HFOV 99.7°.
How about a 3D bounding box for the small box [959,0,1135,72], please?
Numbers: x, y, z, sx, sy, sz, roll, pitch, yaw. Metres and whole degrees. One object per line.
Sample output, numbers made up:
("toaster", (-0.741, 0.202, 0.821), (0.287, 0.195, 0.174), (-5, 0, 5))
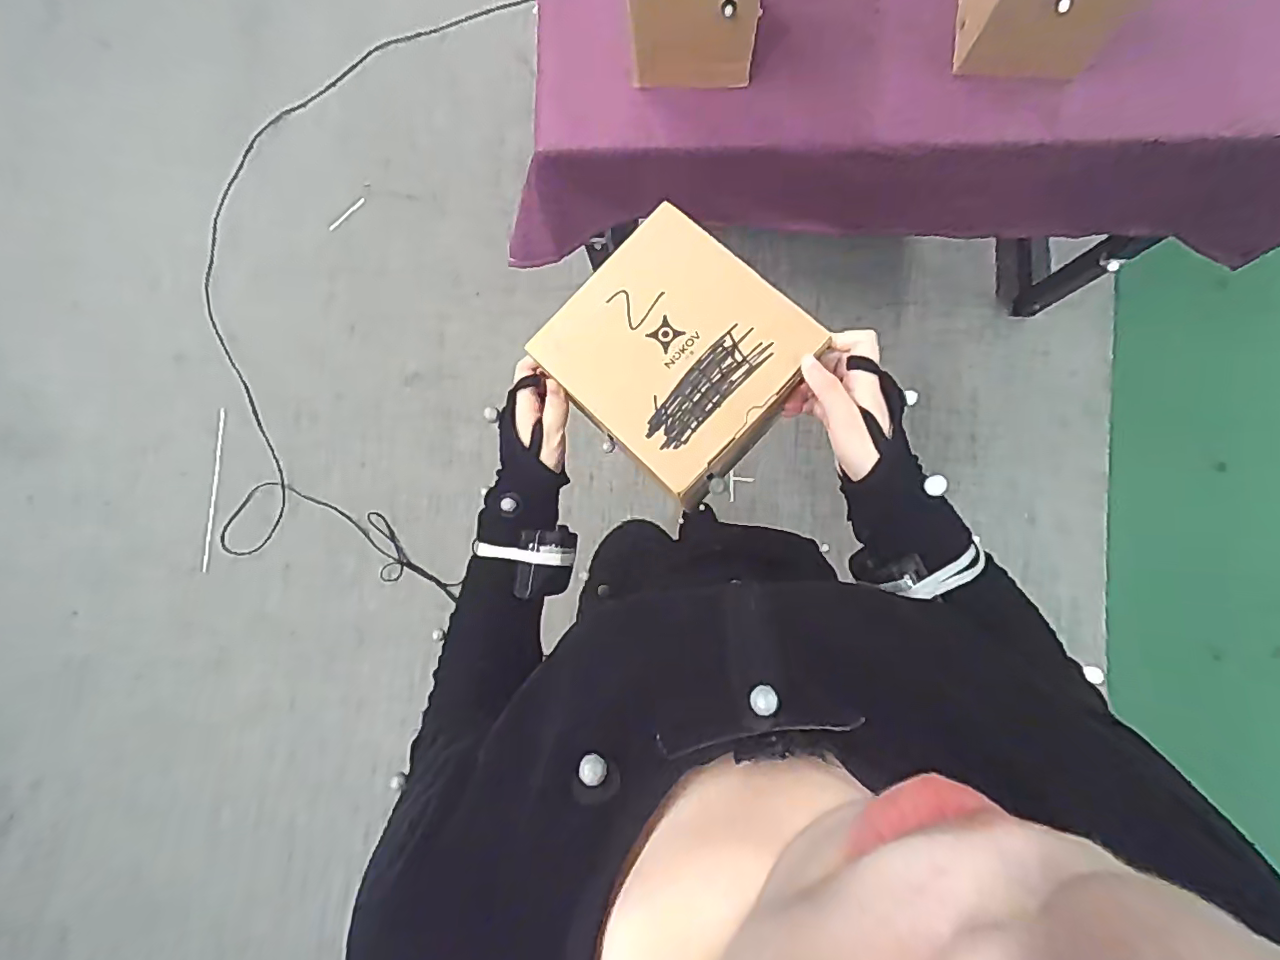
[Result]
("small box", (0.553, -0.682, 0.713), (0.179, 0.176, 0.168), (7, 87, 5))

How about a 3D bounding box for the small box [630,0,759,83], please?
("small box", (0.077, -0.695, 0.754), (0.179, 0.176, 0.168), (3, 86, 4))
